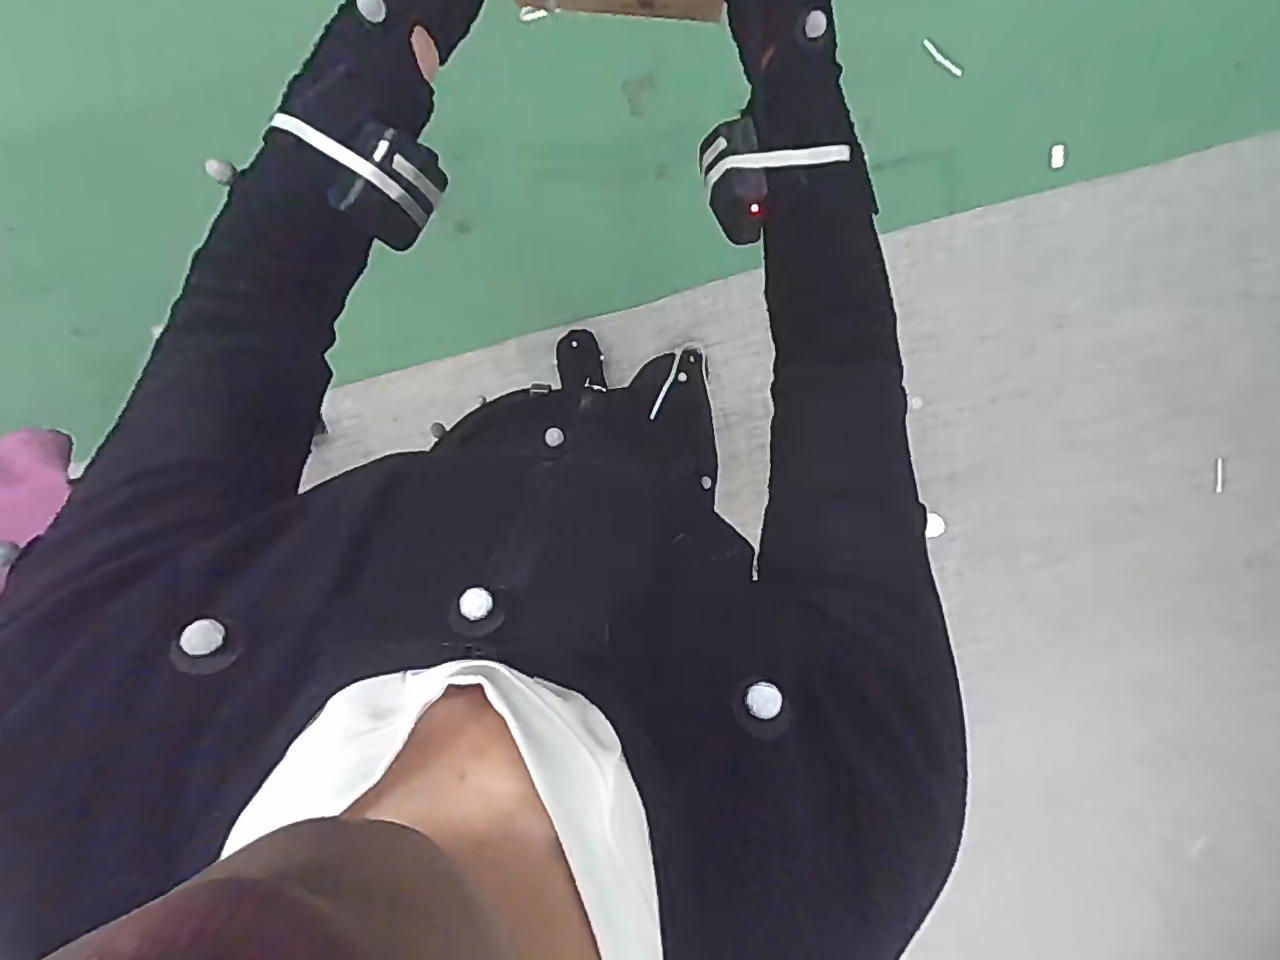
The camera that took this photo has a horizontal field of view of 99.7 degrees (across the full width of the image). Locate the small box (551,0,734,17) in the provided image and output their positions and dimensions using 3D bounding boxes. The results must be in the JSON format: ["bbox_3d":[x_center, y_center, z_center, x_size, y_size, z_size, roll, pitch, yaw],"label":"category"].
[{"bbox_3d":[-0.004,-0.427,0.333,0.168,0.176,0.179,0,108,-1],"label":"small box"}]
